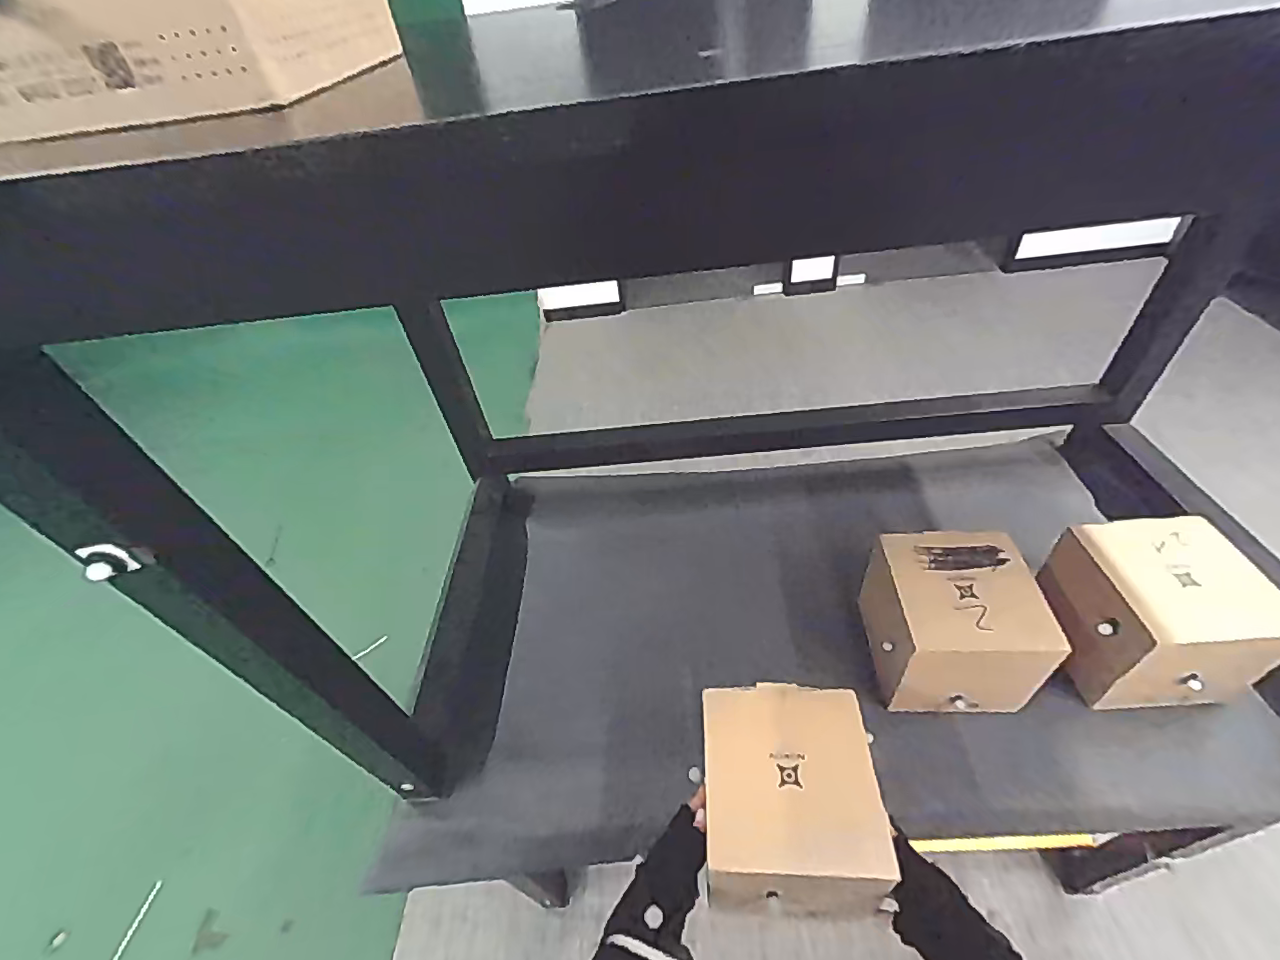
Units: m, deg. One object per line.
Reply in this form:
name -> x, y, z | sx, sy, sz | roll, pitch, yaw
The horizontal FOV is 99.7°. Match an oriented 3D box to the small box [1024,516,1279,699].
small box -> 0.651, 0.171, 0.702 | 0.168, 0.176, 0.179 | -5, 43, 4

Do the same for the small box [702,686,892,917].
small box -> 0.154, 0.347, 0.588 | 0.168, 0.176, 0.179 | -2, 39, 7

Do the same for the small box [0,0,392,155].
small box -> -0.239, -0.264, 0.242 | 0.168, 0.176, 0.179 | -5, 45, 4
